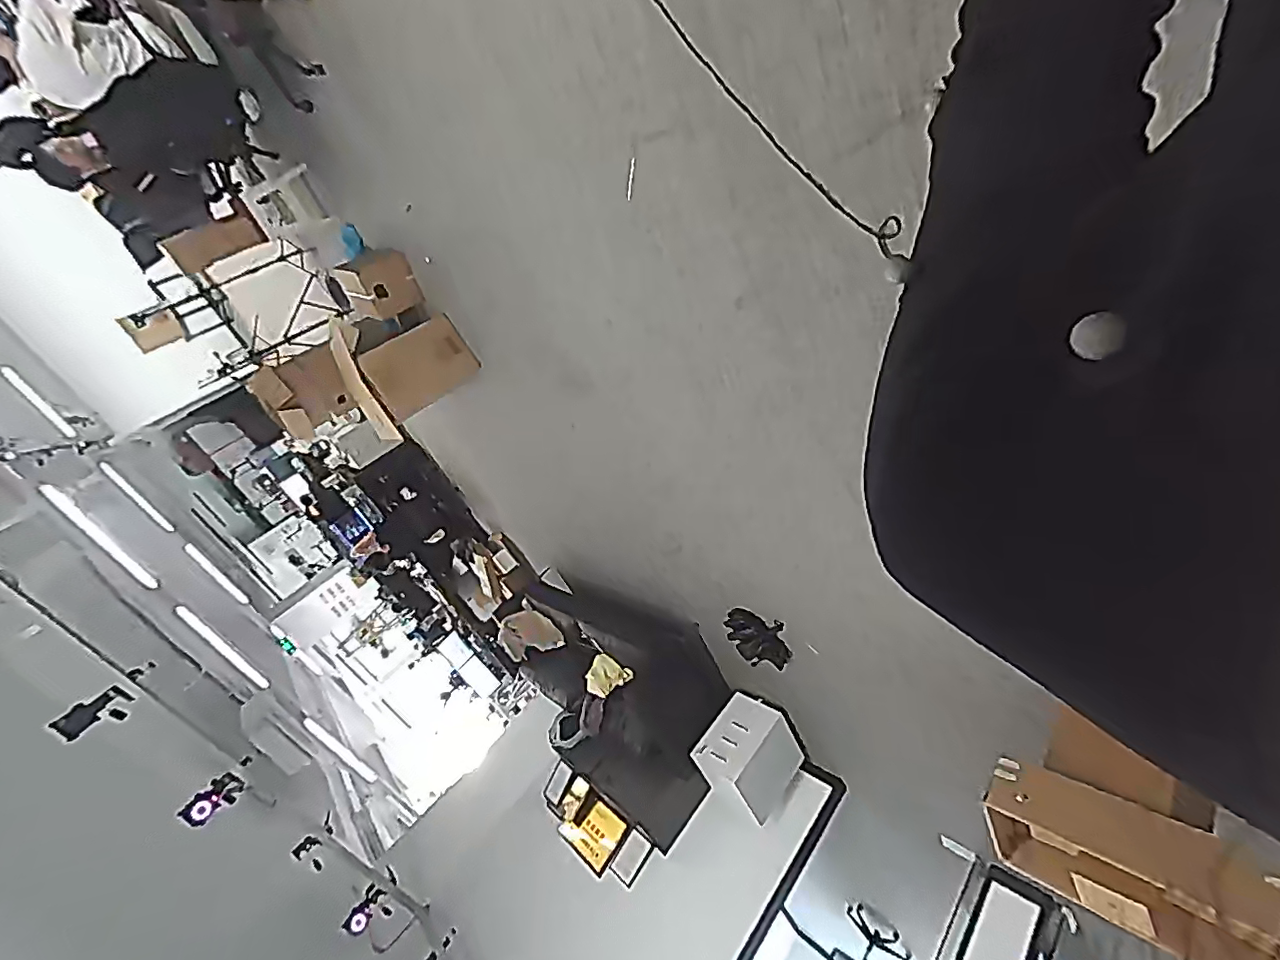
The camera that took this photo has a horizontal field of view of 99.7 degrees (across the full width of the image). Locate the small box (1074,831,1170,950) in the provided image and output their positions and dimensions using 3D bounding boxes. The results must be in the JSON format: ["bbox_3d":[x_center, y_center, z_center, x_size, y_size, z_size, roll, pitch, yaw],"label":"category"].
[{"bbox_3d":[1.351,1.139,1.512,0.168,0.176,0.179,1,127,53],"label":"small box"}]
